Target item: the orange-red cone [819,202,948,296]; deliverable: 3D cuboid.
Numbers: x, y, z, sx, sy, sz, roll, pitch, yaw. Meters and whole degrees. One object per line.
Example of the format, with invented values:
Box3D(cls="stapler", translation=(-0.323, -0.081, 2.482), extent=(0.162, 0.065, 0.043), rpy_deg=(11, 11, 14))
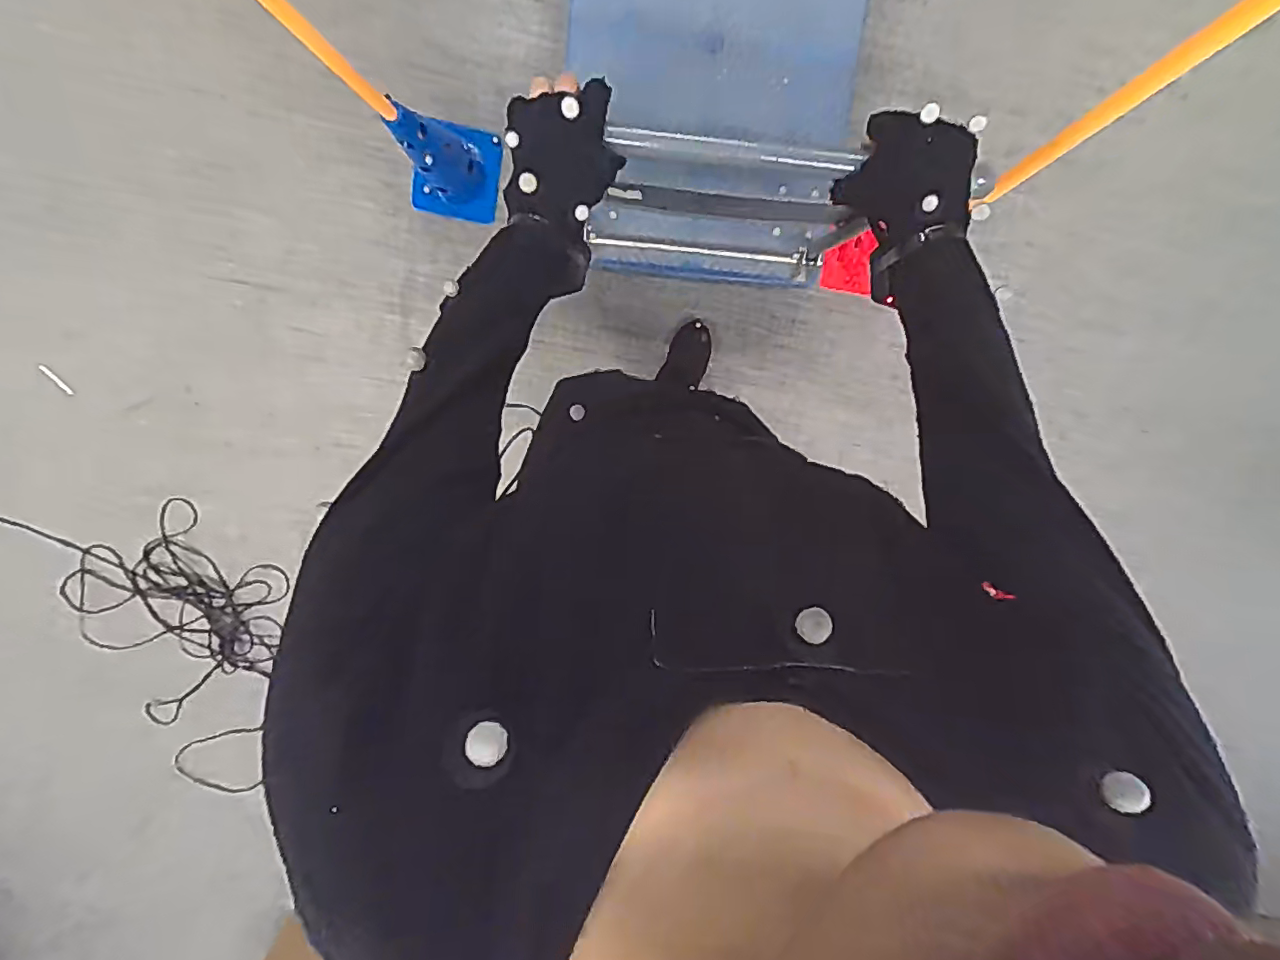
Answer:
Box3D(cls="orange-red cone", translation=(0.555, -0.528, 1.174), extent=(0.199, 0.360, 0.198), rpy_deg=(11, 104, -2))
